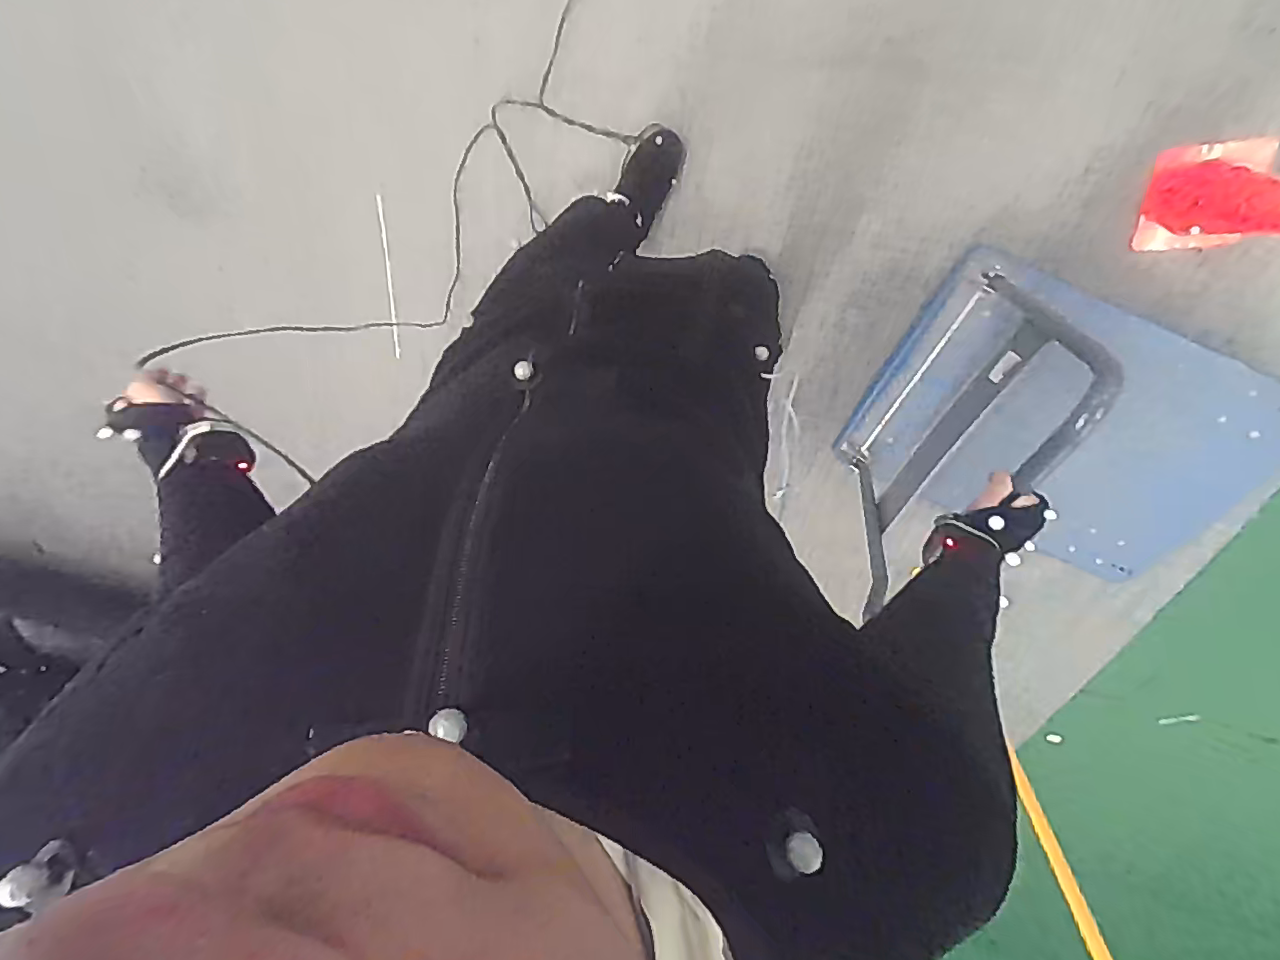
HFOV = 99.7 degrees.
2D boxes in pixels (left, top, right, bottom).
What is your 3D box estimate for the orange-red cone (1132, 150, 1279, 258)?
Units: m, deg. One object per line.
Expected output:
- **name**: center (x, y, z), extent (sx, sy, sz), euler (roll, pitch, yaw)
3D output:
- **orange-red cone**: center (1.146, -0.489, 0.997), extent (0.198, 0.360, 0.199), euler (1, 120, 12)
